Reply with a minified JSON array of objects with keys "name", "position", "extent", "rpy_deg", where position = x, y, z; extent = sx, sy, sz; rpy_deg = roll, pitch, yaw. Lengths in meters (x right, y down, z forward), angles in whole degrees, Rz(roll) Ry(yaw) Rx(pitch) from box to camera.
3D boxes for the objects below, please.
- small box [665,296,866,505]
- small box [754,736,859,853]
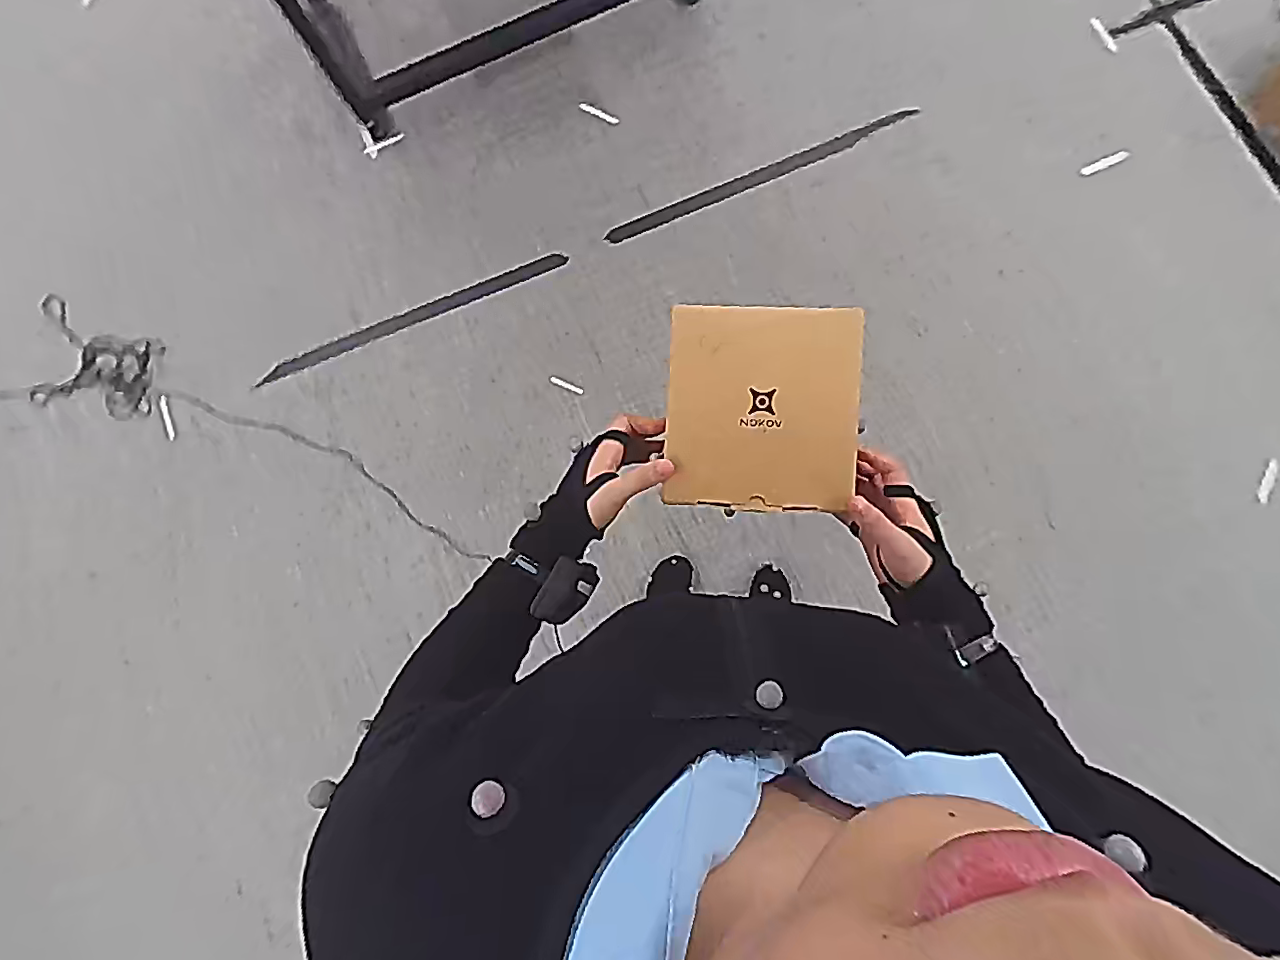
[{"name":"small box","position":[0.111,-0.067,0.538],"extent":[0.168,0.176,0.179],"rpy_deg":[2,89,4]},{"name":"small box","position":[0.396,0.754,1.327],"extent":[0.168,0.176,0.179],"rpy_deg":[-25,82,-1]}]
